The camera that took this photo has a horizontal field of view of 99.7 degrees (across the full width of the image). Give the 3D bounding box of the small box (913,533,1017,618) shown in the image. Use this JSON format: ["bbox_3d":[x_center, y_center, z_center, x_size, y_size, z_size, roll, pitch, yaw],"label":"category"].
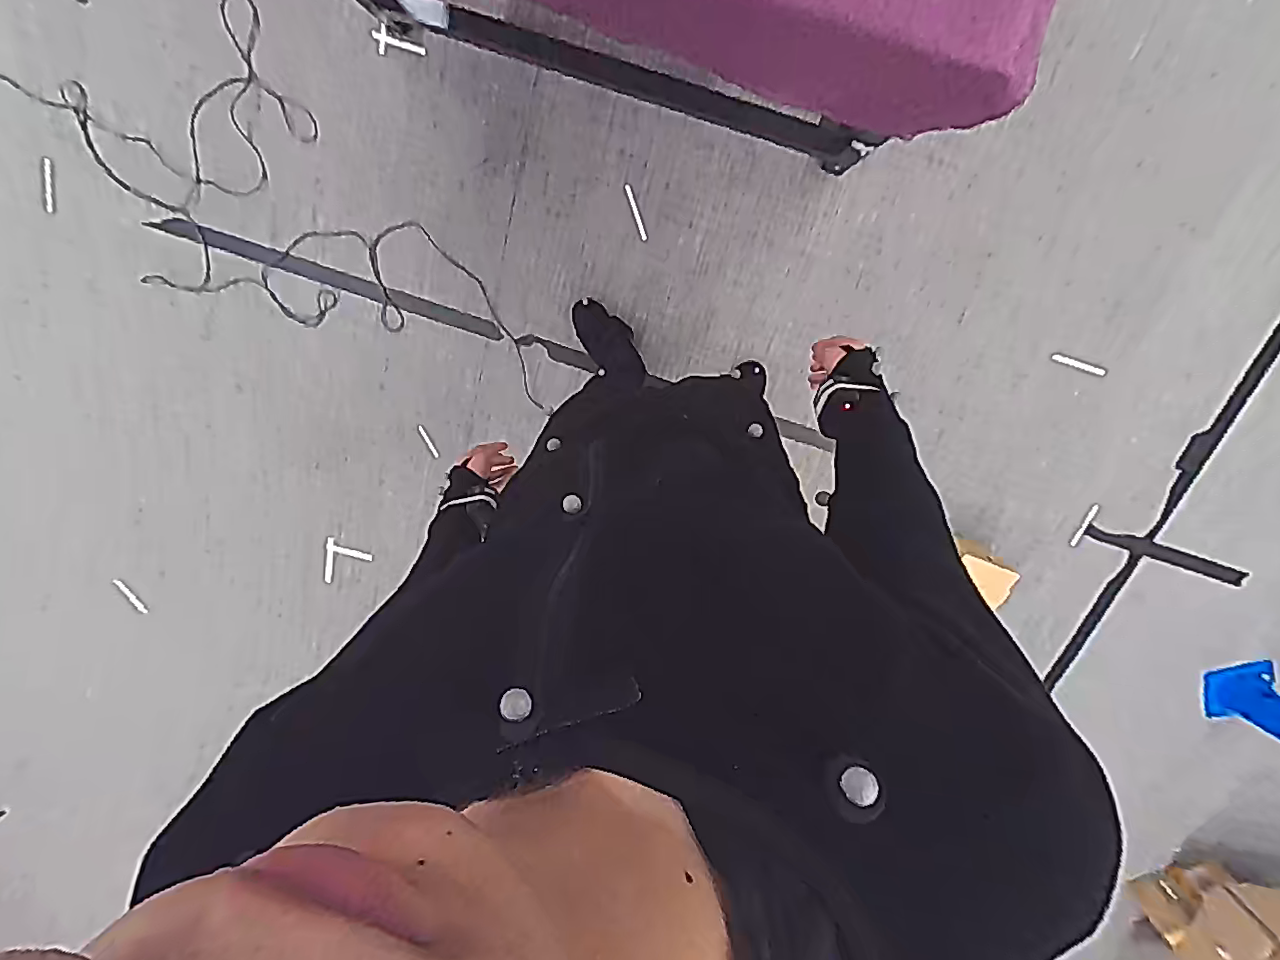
[{"bbox_3d":[0.957,0.276,1.614,0.179,0.176,0.168,20,109,-4],"label":"small box"}]
